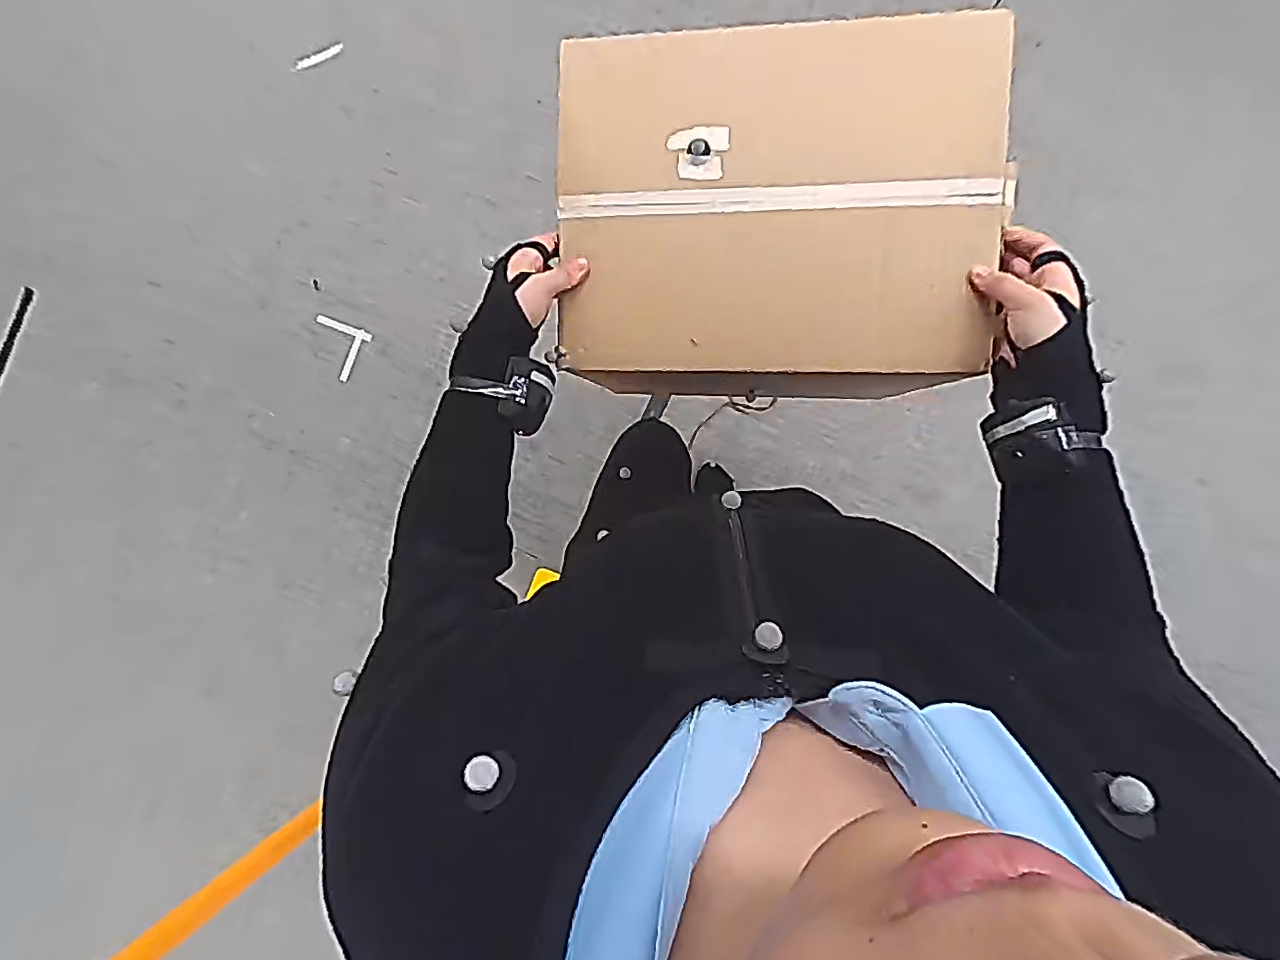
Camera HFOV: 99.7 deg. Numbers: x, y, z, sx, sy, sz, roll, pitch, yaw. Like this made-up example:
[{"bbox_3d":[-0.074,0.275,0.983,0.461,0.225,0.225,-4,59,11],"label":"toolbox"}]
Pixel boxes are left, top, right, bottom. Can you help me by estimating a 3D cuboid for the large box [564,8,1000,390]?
[{"bbox_3d":[0.145,-0.276,0.660,0.408,0.320,0.320,2,93,9],"label":"large box"}]
